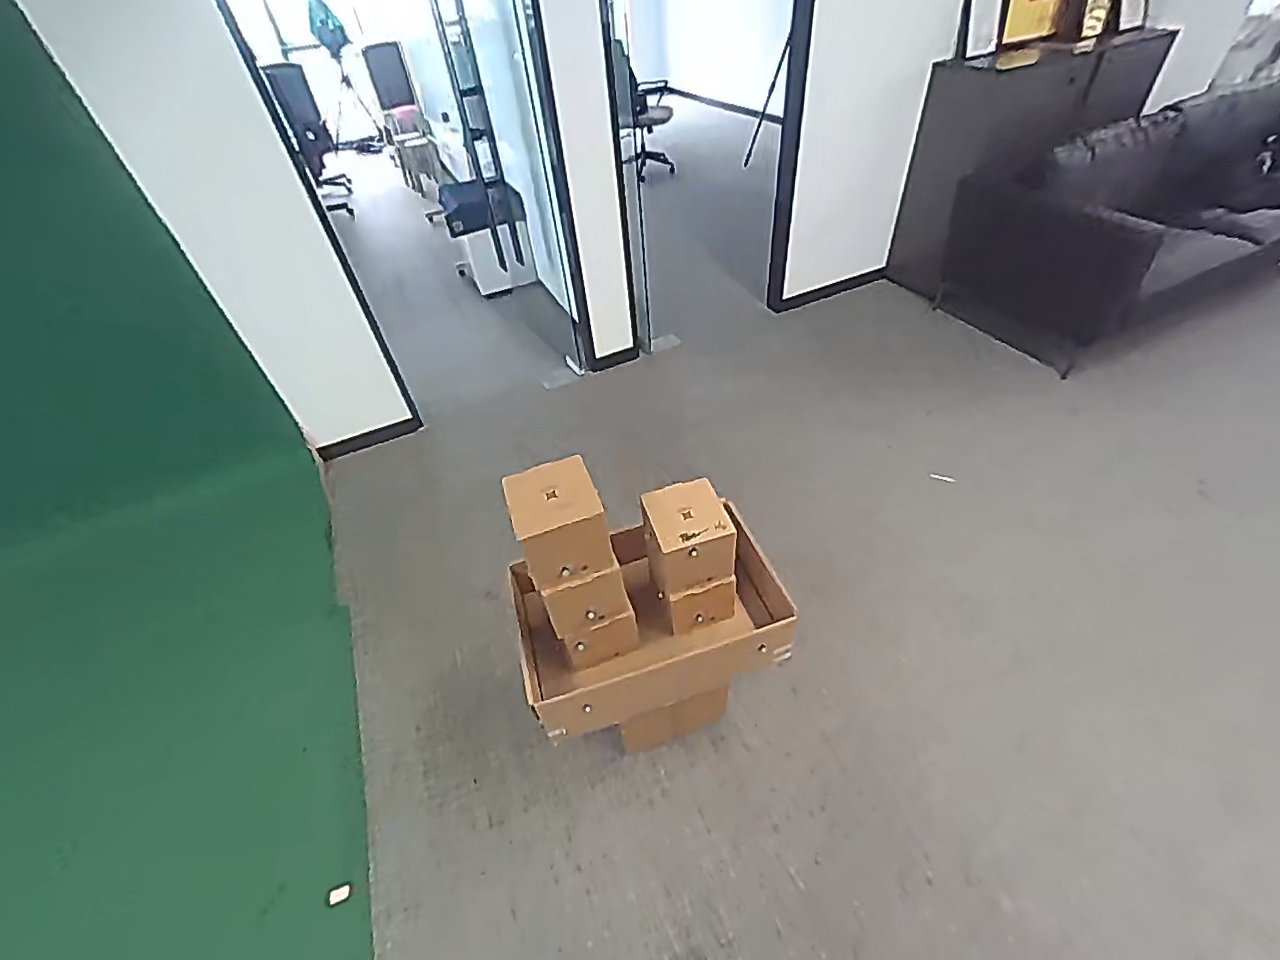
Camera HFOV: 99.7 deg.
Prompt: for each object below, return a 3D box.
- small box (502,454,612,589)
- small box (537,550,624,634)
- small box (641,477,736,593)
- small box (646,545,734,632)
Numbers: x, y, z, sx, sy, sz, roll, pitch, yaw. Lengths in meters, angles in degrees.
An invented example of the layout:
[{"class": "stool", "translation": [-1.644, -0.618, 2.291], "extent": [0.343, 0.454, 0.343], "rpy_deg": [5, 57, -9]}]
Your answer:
[{"class": "small box", "translation": [-0.162, 0.081, 1.065], "extent": [0.168, 0.176, 0.179], "rpy_deg": [-17, 46, -11]}, {"class": "small box", "translation": [-0.142, 0.200, 1.176], "extent": [0.168, 0.176, 0.179], "rpy_deg": [-18, 47, -12]}, {"class": "small box", "translation": [0.105, 0.125, 1.229], "extent": [0.168, 0.176, 0.179], "rpy_deg": [-14, 47, -9]}, {"class": "small box", "translation": [0.118, 0.245, 1.341], "extent": [0.168, 0.176, 0.179], "rpy_deg": [-16, 48, -10]}]
